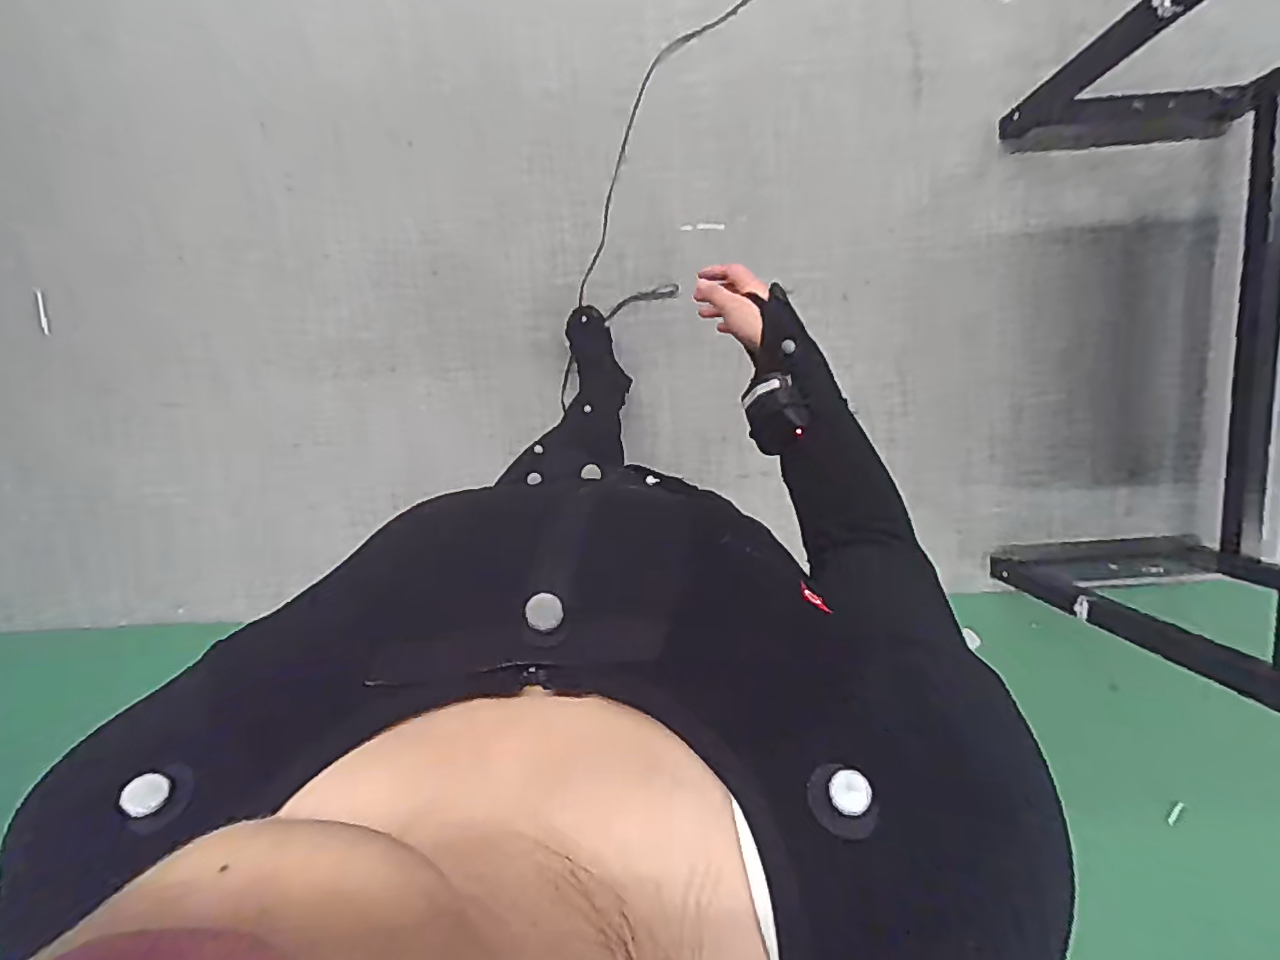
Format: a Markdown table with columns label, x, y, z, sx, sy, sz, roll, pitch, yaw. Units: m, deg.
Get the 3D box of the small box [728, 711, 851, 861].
| label | x | y | z | sx | sy | sz | roll | pitch | yaw |
| --- | --- | --- | --- | --- | --- | --- | --- | --- | --- |
| small box | 0.298 | 0.622 | 1.116 | 0.168 | 0.176 | 0.179 | -28 | 96 | 3 |
